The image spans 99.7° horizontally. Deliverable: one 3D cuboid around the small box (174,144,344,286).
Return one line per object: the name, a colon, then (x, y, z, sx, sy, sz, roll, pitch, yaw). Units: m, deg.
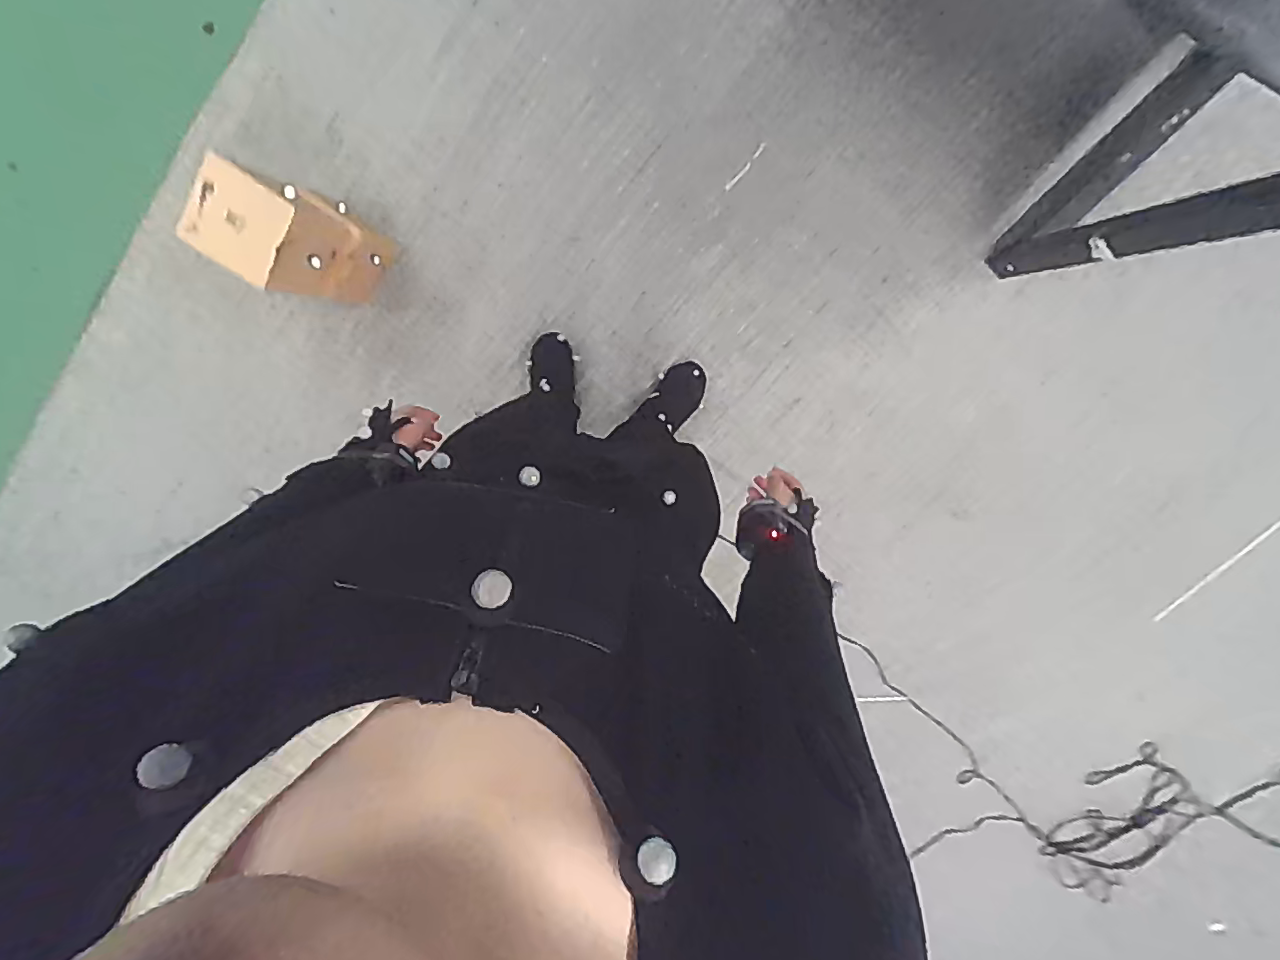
small box: (-0.709, -0.488, 1.027, 0.179, 0.176, 0.168, 34, 103, -7)

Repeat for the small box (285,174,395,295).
small box: (-0.678, -0.524, 1.186, 0.179, 0.176, 0.168, 35, 103, -5)
